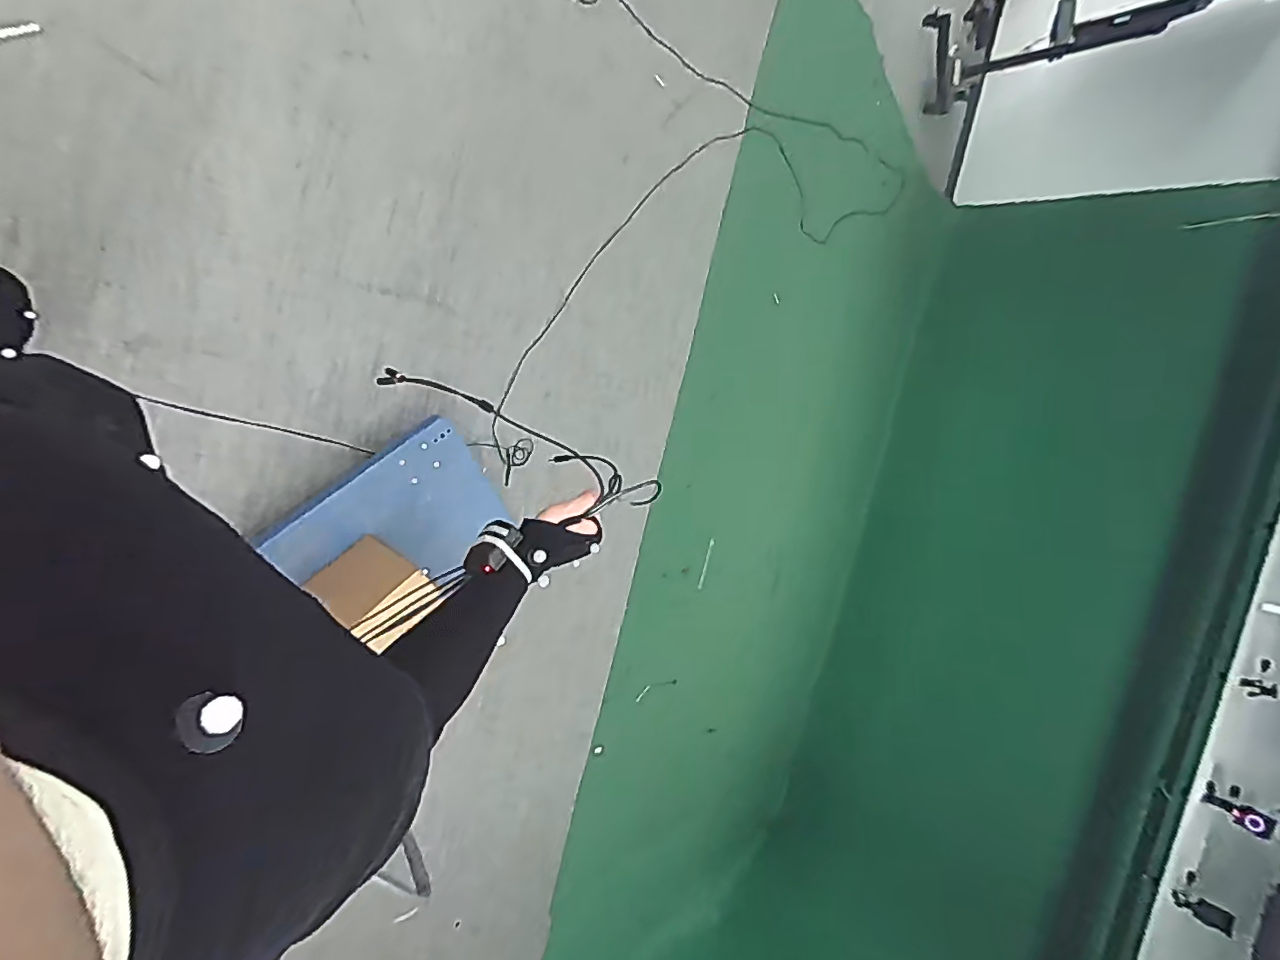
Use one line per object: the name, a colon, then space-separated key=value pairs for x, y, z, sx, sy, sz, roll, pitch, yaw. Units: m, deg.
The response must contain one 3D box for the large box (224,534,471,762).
large box: x=-0.735 y=0.410 z=1.391 sx=0.408 sy=0.320 sz=0.320 roll=-46 pitch=134 yaw=-30
